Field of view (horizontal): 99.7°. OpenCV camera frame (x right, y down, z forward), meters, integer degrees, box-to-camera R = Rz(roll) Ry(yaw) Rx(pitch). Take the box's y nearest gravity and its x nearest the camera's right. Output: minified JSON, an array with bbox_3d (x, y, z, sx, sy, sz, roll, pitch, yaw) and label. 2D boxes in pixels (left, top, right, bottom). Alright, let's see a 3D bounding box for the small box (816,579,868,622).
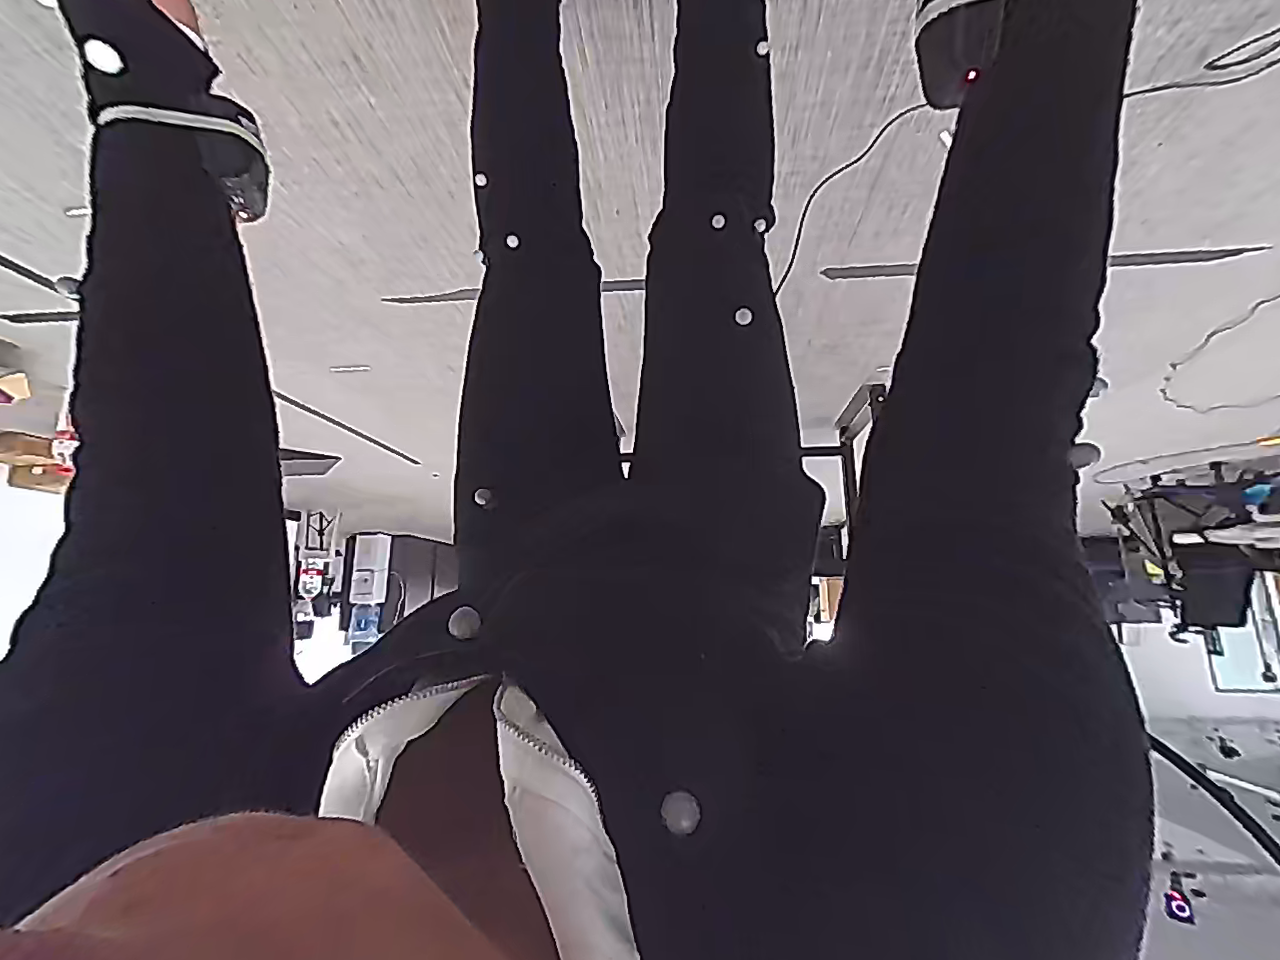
[{"bbox_3d":[0.824,0.497,2.226,0.168,0.176,0.179,-1,168,8],"label":"small box"}]
